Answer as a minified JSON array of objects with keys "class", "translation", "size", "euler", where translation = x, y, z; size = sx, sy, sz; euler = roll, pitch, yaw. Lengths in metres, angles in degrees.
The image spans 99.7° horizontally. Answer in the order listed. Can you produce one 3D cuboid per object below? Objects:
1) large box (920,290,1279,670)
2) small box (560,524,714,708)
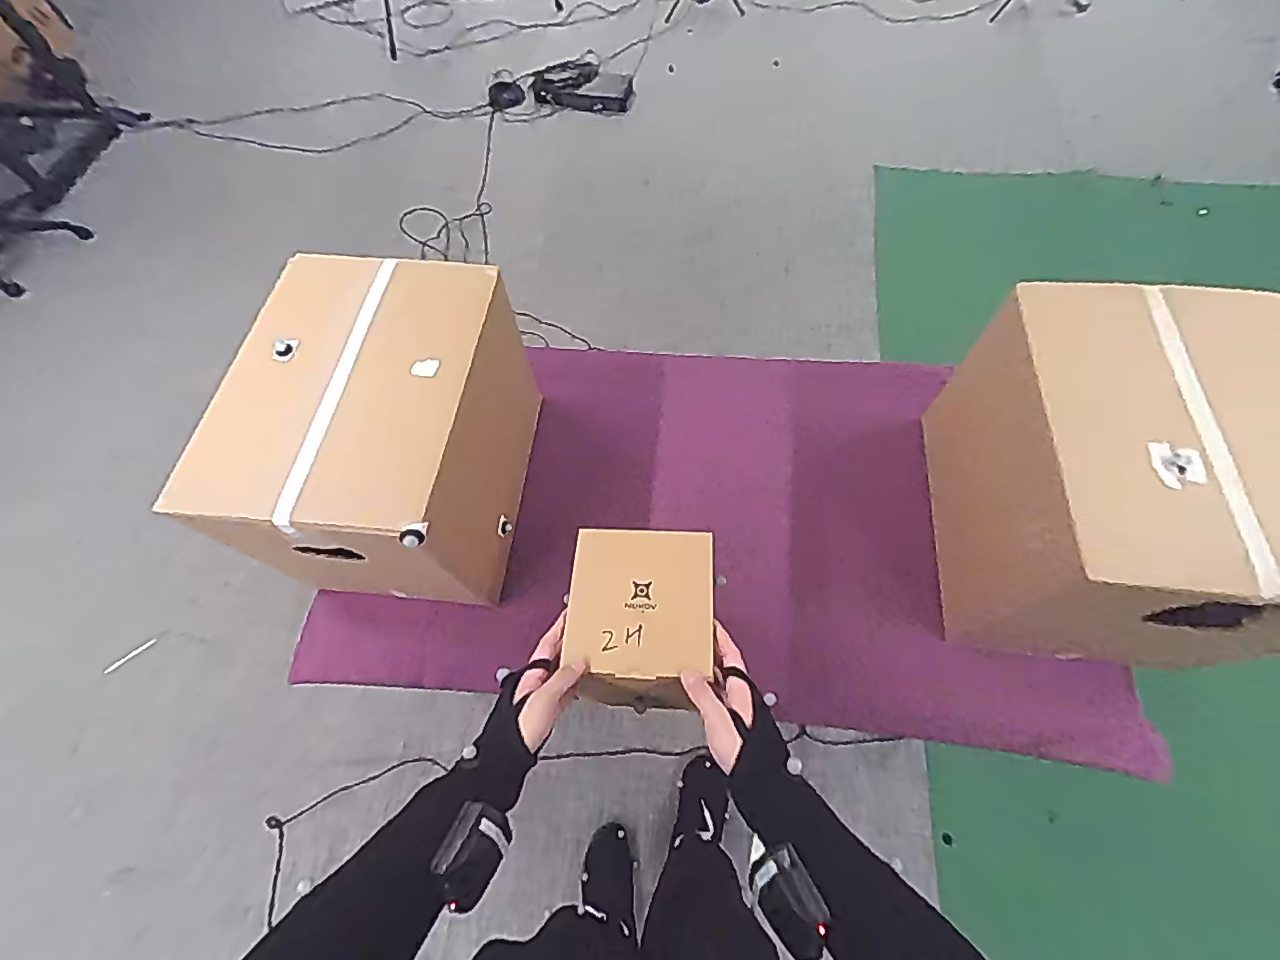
[{"class":"large box","translation":[0.612,0.011,0.725],"size":[0.320,0.320,0.408],"euler":[5,64,7]},{"class":"small box","translation":[0.005,0.173,0.680],"size":[0.168,0.176,0.179],"euler":[1,57,5]}]
